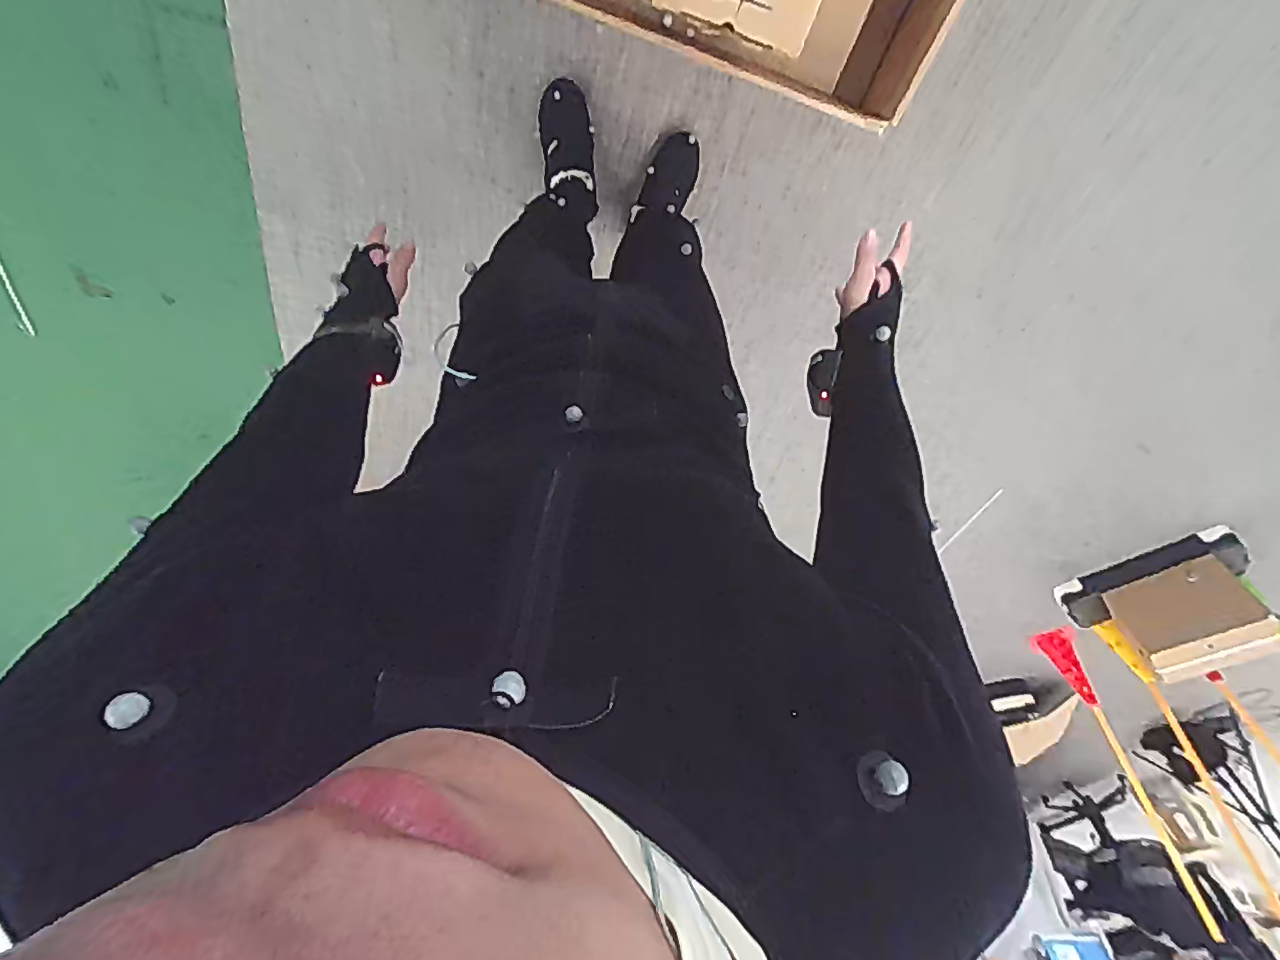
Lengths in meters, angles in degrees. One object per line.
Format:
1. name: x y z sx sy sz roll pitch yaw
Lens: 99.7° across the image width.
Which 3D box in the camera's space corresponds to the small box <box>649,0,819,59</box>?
1. small box: 0.109 -0.572 0.554 0.168 0.176 0.179 11 130 -13
